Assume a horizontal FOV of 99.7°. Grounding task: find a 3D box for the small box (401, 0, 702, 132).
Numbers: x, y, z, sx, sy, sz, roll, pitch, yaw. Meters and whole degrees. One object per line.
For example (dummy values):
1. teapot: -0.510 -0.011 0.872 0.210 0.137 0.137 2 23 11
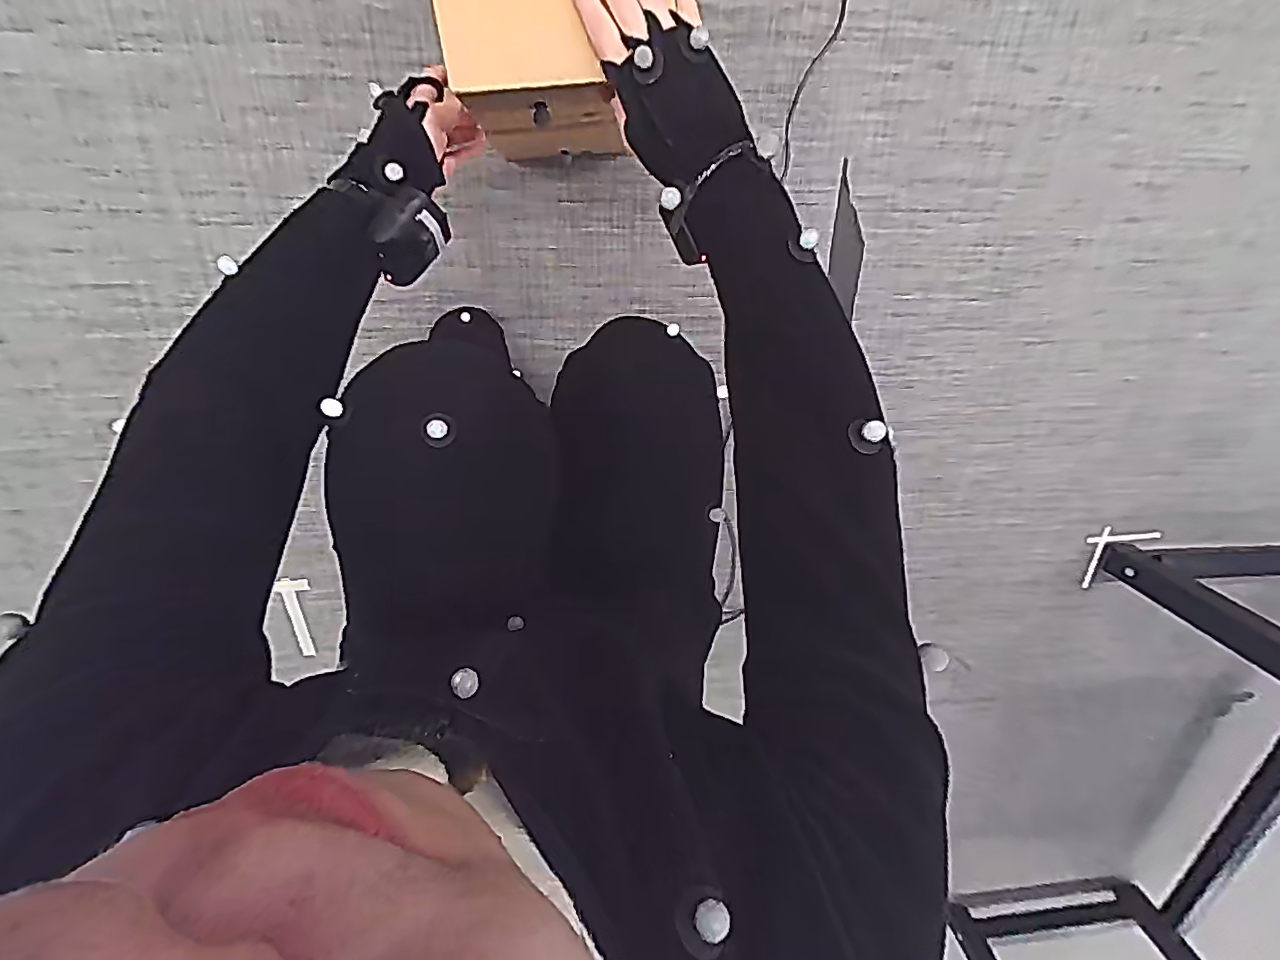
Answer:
1. small box: -0.062 -0.389 0.379 0.179 0.176 0.168 -5 97 15
